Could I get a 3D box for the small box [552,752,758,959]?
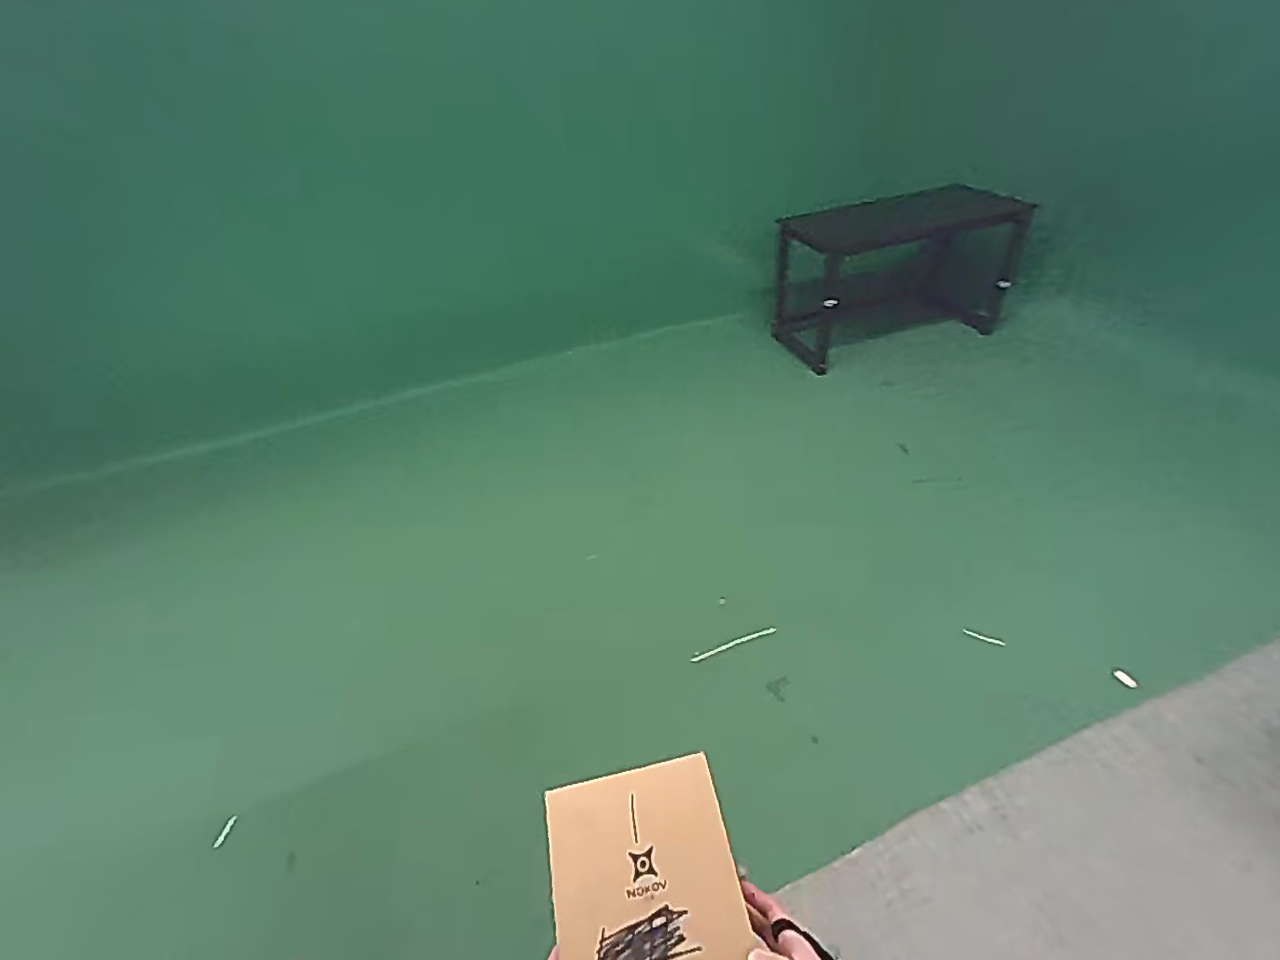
[{"bbox_3d":[0.012,0.404,0.547,0.168,0.176,0.179,-10,49,-4],"label":"small box"}]
